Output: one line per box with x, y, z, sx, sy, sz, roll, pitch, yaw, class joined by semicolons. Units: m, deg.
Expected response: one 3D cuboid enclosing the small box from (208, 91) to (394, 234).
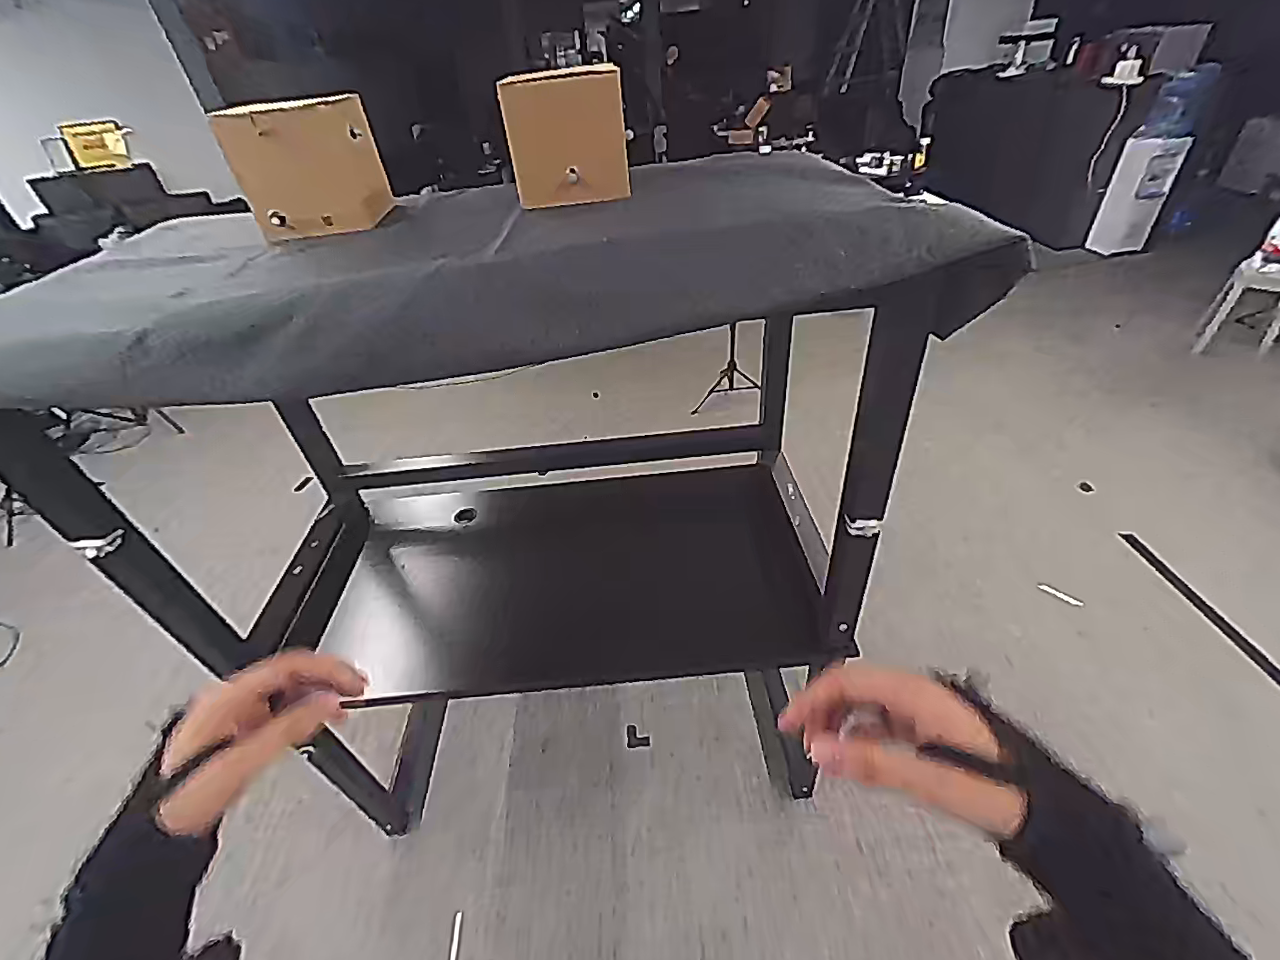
-0.515;-0.499;0.856;0.168;0.176;0.179;-8;39;-2;small box

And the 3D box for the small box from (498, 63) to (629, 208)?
-0.110;-0.549;0.862;0.179;0.176;0.168;-6;39;0;small box
